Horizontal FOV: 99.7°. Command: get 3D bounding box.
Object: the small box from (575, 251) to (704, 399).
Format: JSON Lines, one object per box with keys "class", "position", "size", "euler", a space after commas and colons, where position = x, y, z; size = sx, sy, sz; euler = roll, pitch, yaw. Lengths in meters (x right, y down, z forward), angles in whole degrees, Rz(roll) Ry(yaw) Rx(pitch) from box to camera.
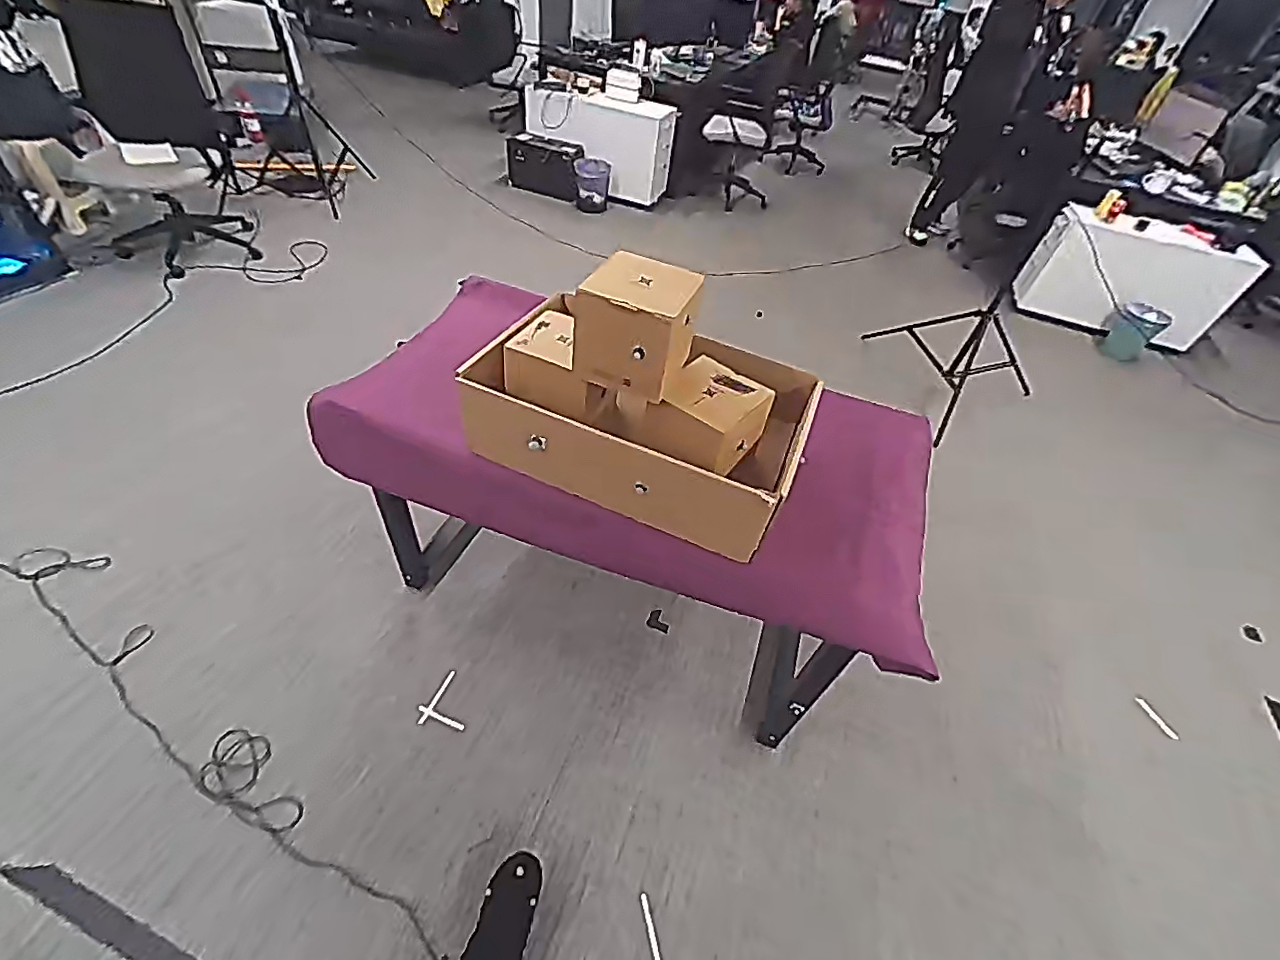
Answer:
{"class": "small box", "position": [-0.004, -0.266, 0.935], "size": [0.168, 0.176, 0.179], "euler": [21, 45, 9]}
